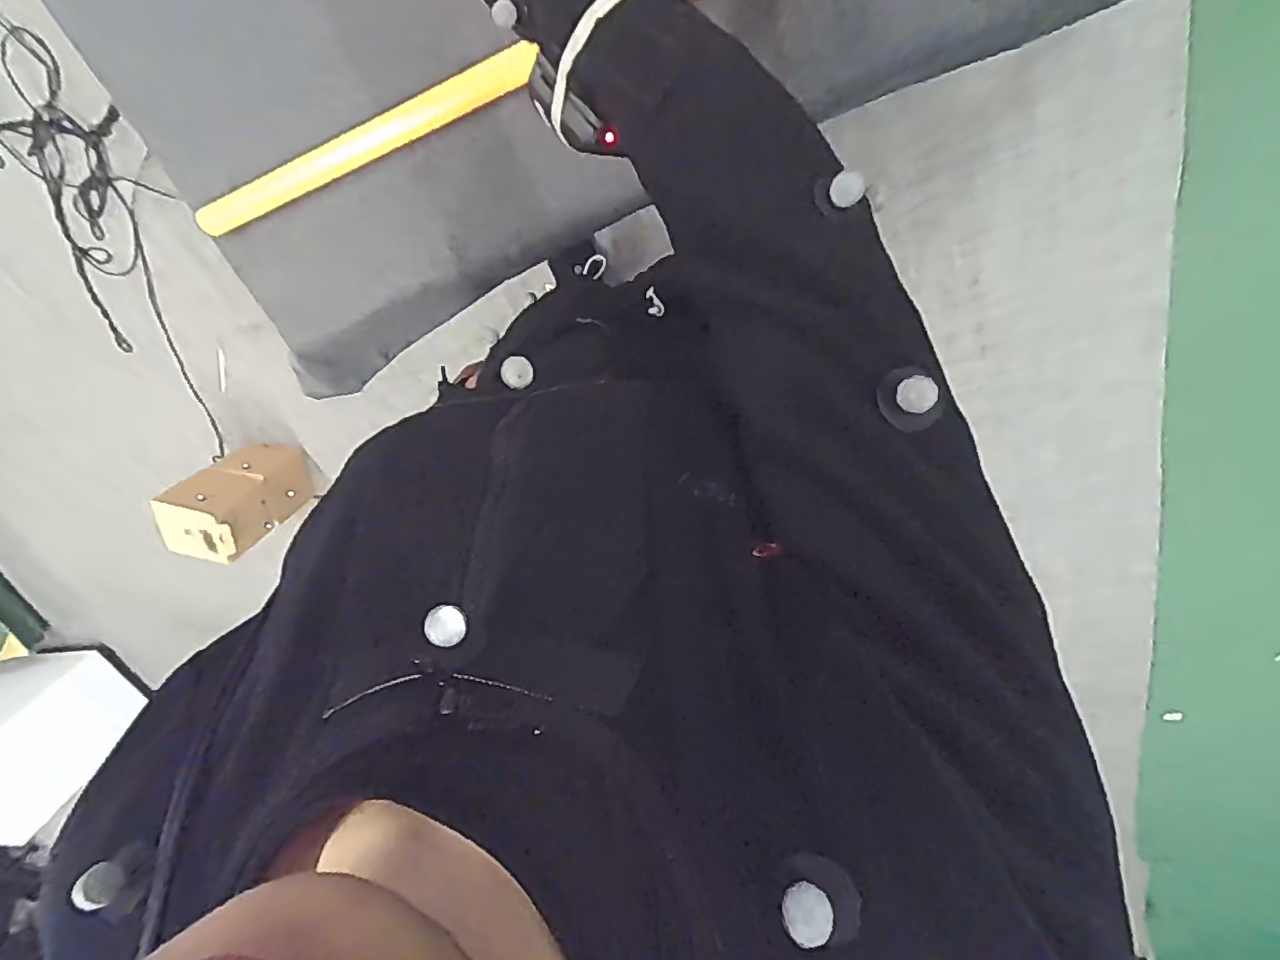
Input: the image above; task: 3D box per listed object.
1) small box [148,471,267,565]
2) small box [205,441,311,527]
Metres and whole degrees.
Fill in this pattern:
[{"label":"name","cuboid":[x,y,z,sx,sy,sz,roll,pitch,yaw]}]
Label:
[{"label":"small box","cuboid":[-1.133,0.095,1.439,0.179,0.176,0.168,13,121,2]},{"label":"small box","cuboid":[-1.101,0.010,1.577,0.168,0.176,0.179,8,122,4]}]
